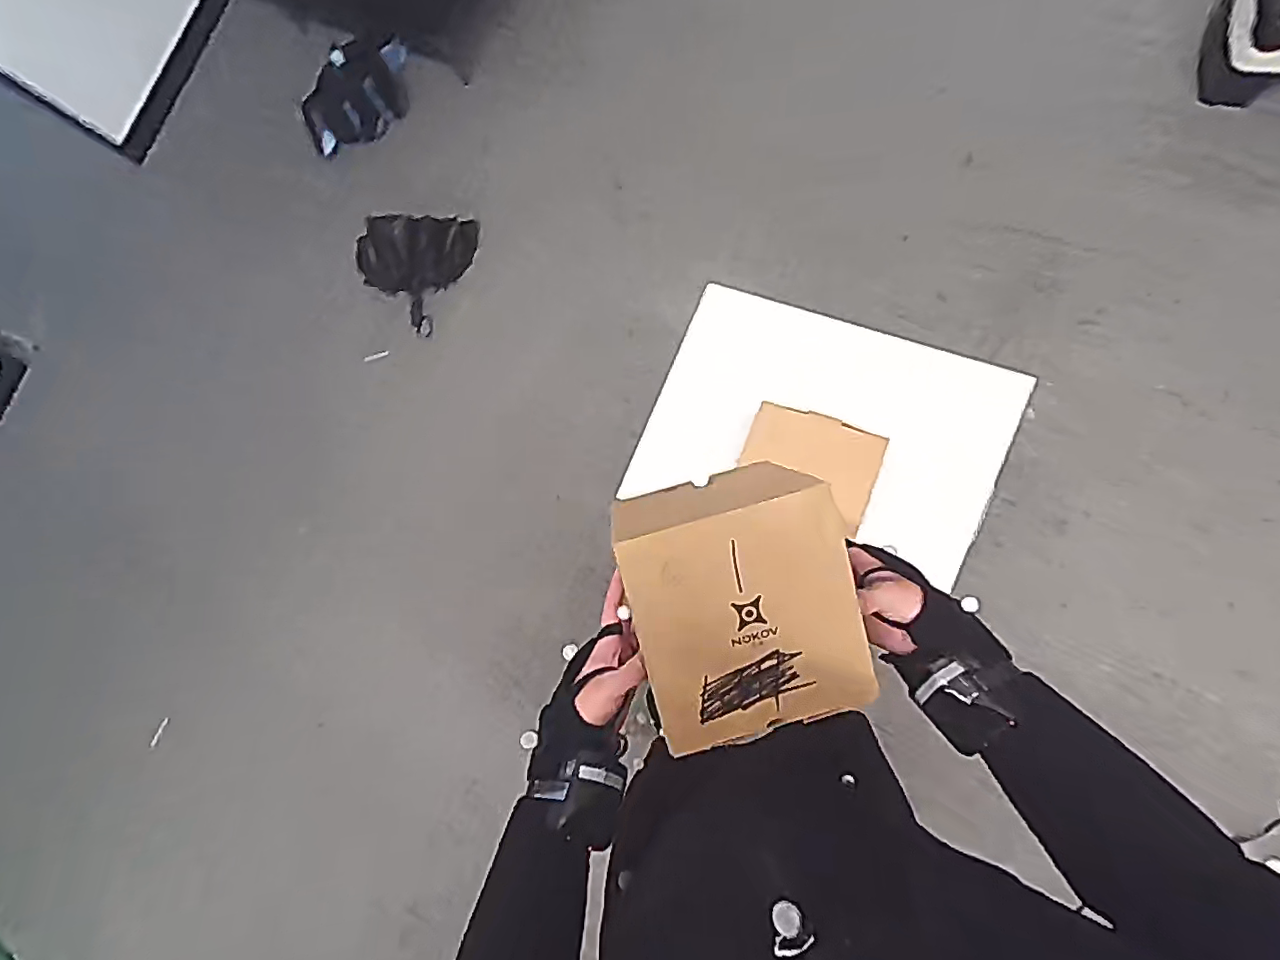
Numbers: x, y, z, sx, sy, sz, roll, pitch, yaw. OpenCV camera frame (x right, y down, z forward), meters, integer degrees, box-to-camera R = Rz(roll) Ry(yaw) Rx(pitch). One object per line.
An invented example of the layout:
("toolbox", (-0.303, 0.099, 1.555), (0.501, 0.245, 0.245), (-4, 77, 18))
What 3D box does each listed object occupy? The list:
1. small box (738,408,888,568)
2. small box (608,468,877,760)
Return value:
("small box", (0.218, 0.026, 0.749), (0.168, 0.176, 0.179), (20, 84, 17))
("small box", (0.074, 0.099, 0.476), (0.168, 0.176, 0.179), (-17, 96, -2))
